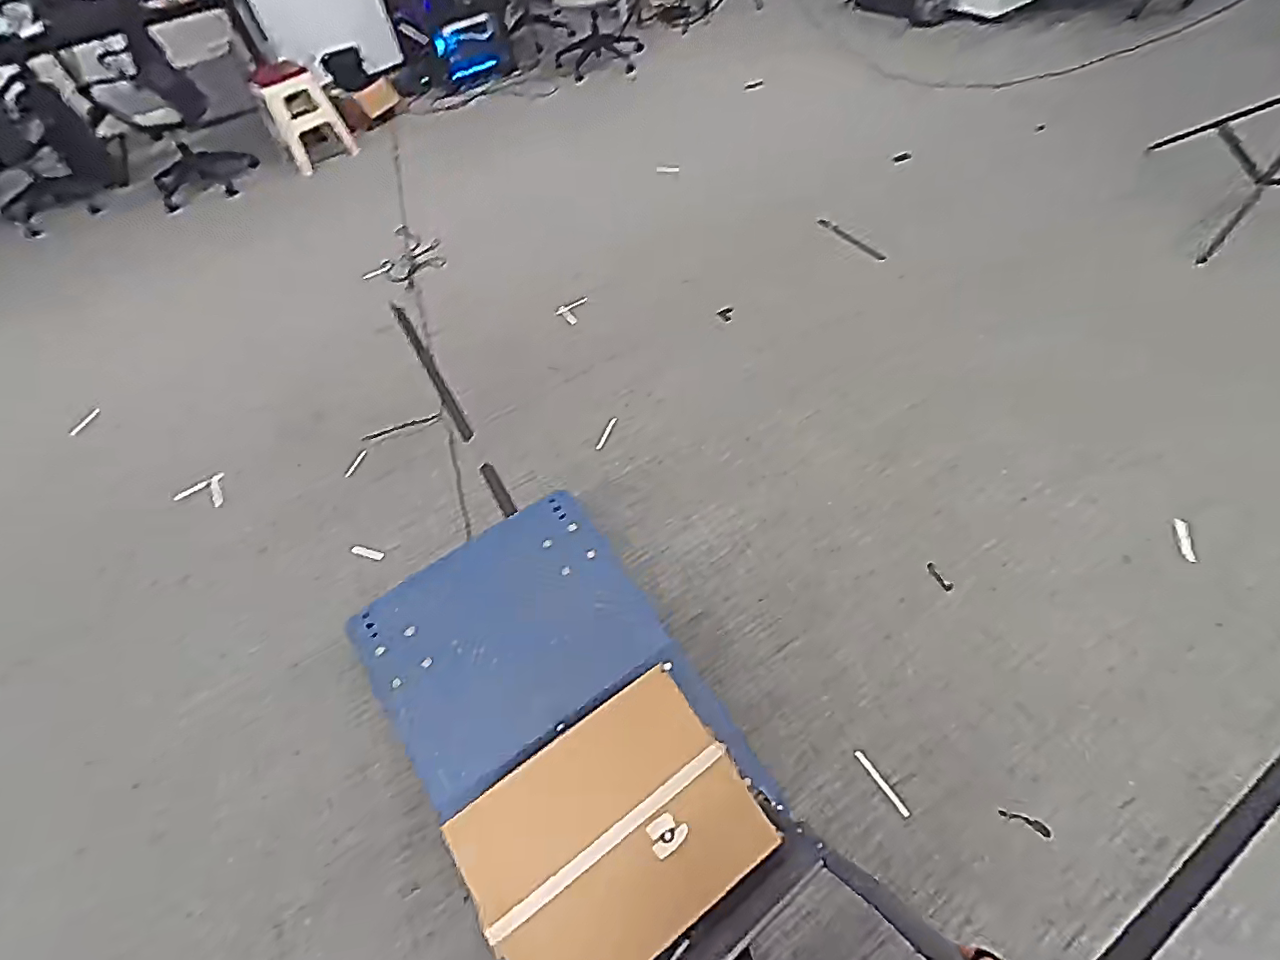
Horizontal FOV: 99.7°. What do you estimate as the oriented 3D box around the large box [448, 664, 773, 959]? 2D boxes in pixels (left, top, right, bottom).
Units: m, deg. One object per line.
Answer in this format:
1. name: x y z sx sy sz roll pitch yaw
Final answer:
1. large box: -0.050 0.586 0.949 0.408 0.320 0.320 -33 74 -16
